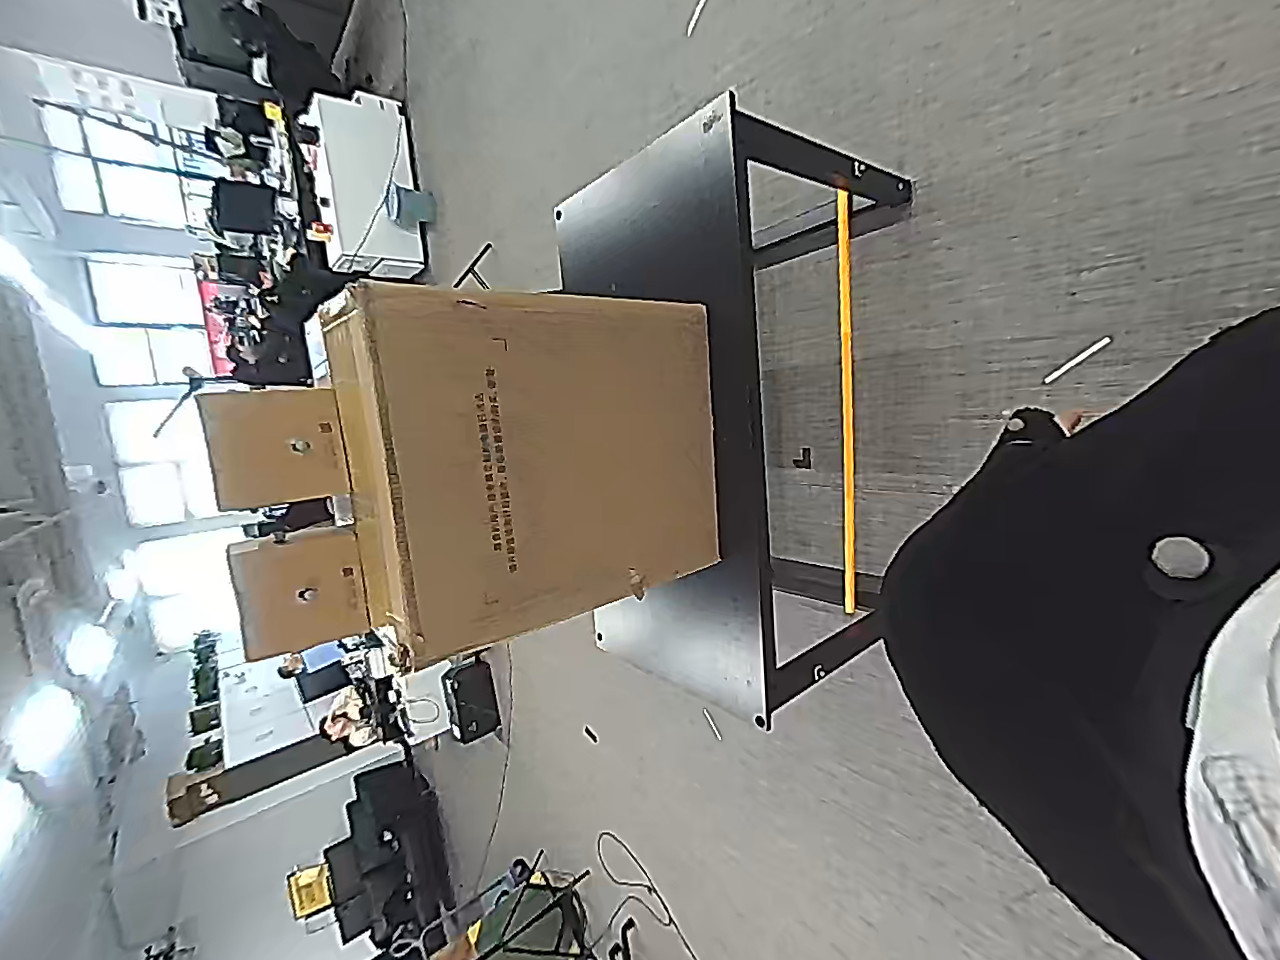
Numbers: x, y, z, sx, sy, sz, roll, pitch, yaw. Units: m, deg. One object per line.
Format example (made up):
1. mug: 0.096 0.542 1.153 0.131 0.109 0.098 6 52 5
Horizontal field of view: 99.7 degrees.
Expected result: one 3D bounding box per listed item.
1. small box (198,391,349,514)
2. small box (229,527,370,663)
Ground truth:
1. small box: -0.571 -0.048 0.853 0.179 0.176 0.168 2 101 53
2. small box: -0.557 0.176 0.890 0.179 0.176 0.168 -1 97 53
